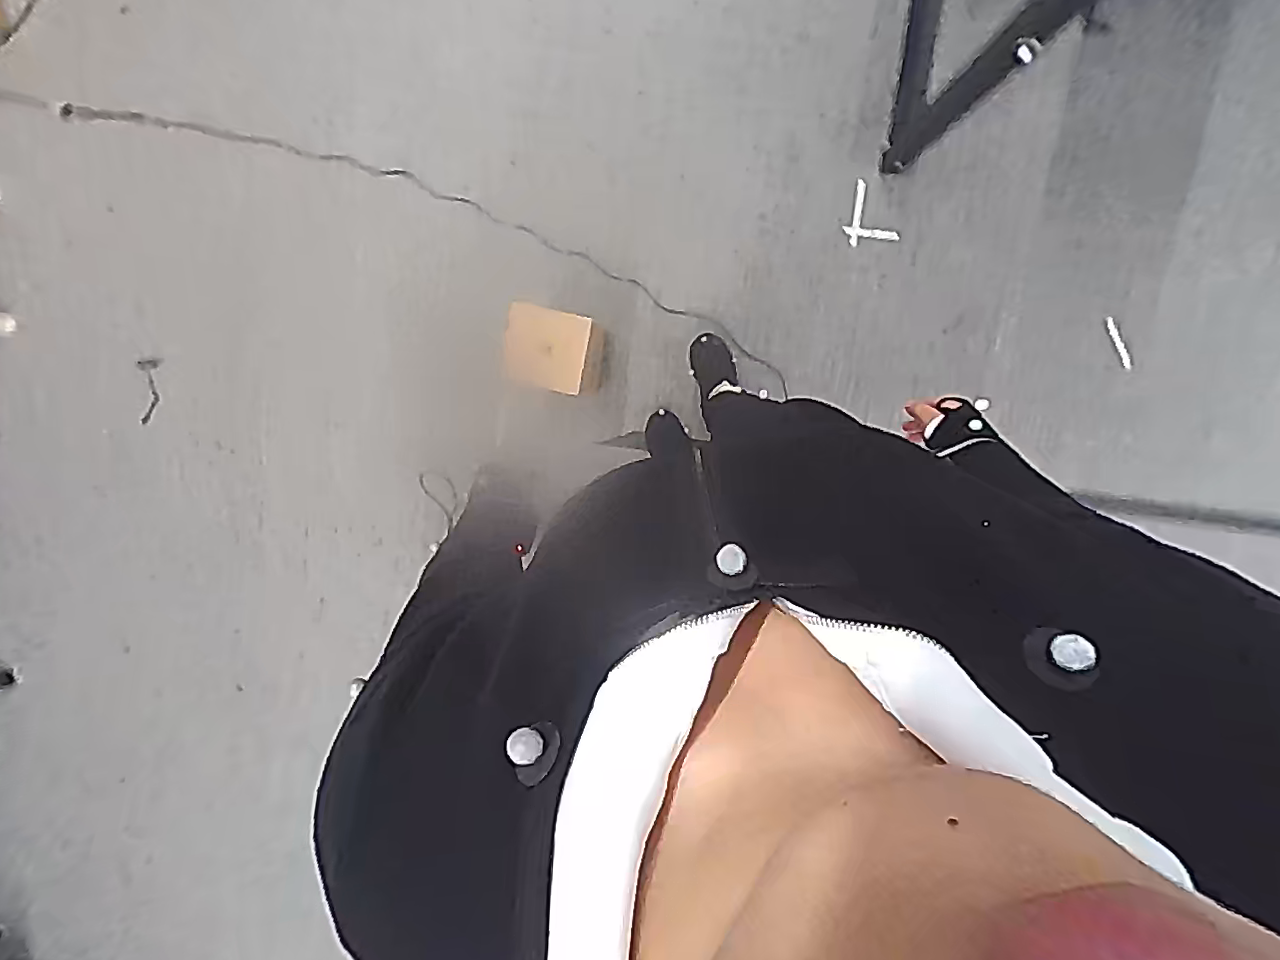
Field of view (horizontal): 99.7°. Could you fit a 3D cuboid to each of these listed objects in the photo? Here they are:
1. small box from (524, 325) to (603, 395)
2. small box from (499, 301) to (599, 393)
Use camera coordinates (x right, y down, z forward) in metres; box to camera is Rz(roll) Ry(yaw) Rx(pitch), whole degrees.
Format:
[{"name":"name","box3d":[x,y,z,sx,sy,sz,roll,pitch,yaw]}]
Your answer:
[{"name":"small box","box3d":[-0.190,-0.318,1.379,0.168,0.176,0.179,7,101,1]},{"name":"small box","box3d":[-0.199,-0.293,1.217,0.179,0.176,0.168,11,101,-1]}]
